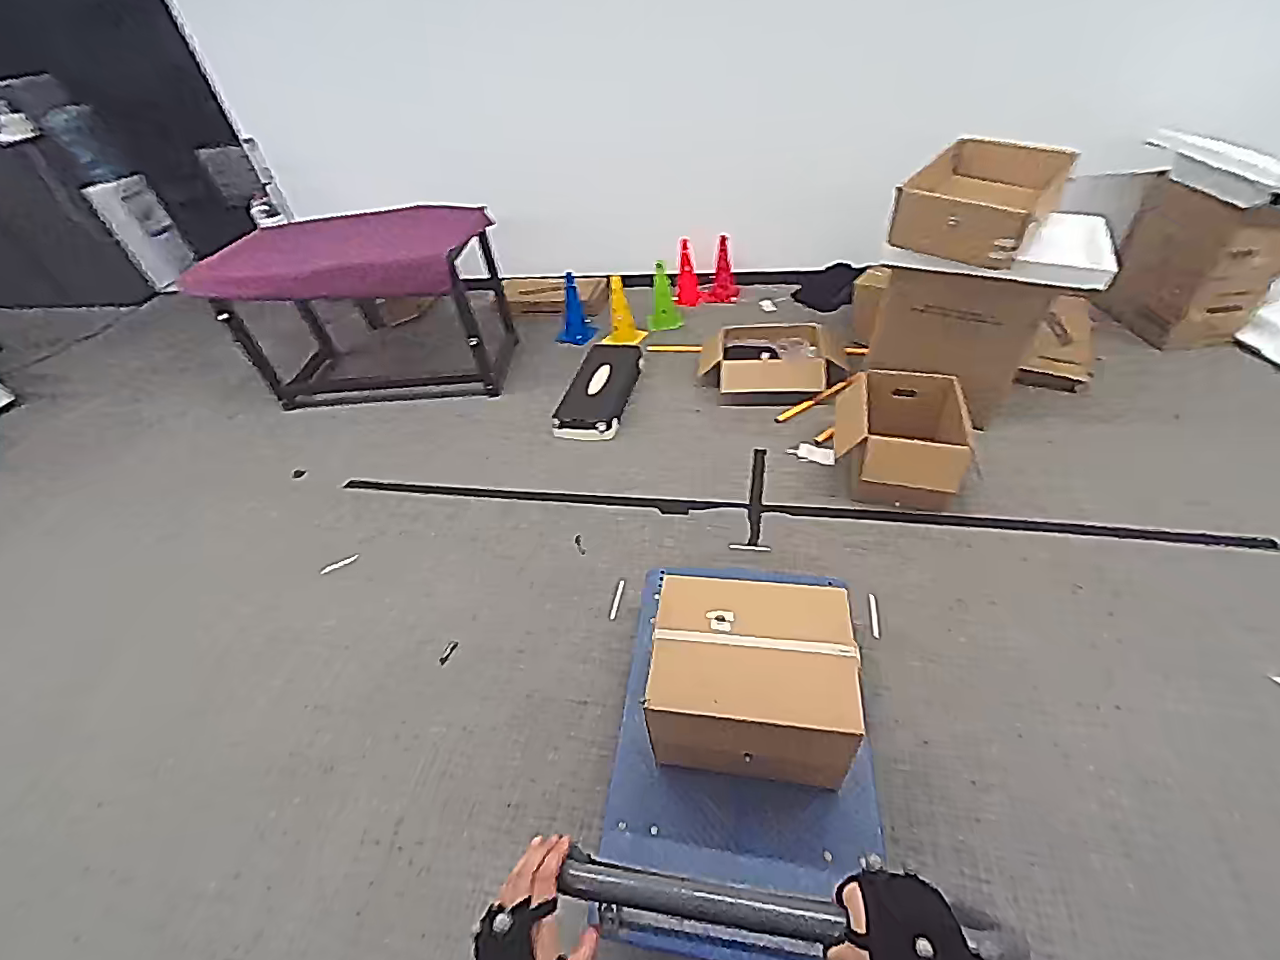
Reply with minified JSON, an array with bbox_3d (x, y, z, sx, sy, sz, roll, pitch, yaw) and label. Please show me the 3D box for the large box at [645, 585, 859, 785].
[{"bbox_3d":[0.245,0.460,1.223,0.408,0.320,0.320,1,43,11],"label":"large box"}]
